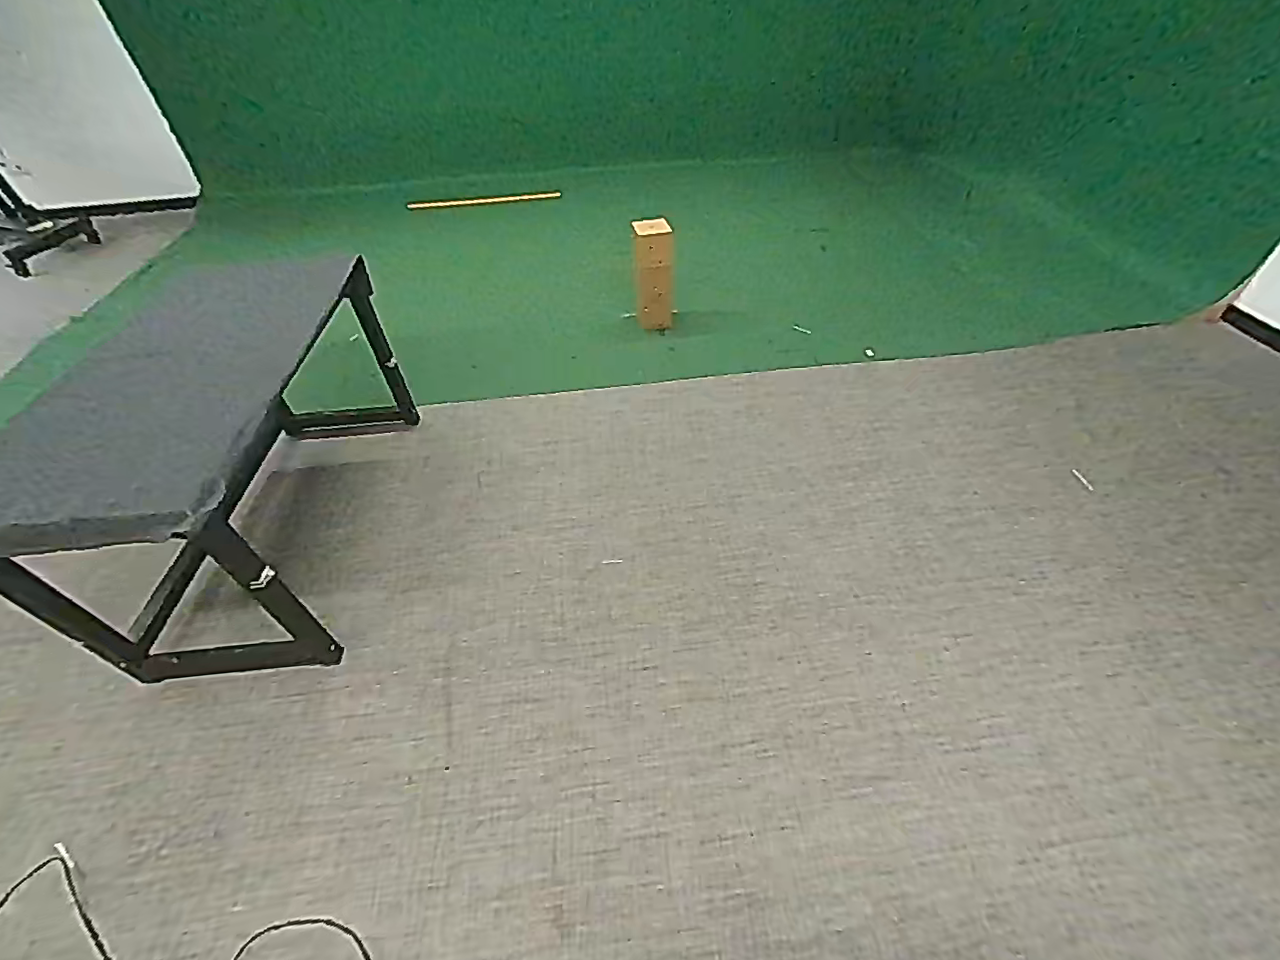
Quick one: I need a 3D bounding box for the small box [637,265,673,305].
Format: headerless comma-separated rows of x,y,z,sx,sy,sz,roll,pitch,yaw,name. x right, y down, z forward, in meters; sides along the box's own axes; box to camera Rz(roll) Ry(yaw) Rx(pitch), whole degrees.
0.076,-1.022,2.787,0.168,0.176,0.179,-8,45,-4,small box

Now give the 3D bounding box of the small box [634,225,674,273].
0.071,-1.135,2.671,0.168,0.176,0.179,-10,44,-6,small box
